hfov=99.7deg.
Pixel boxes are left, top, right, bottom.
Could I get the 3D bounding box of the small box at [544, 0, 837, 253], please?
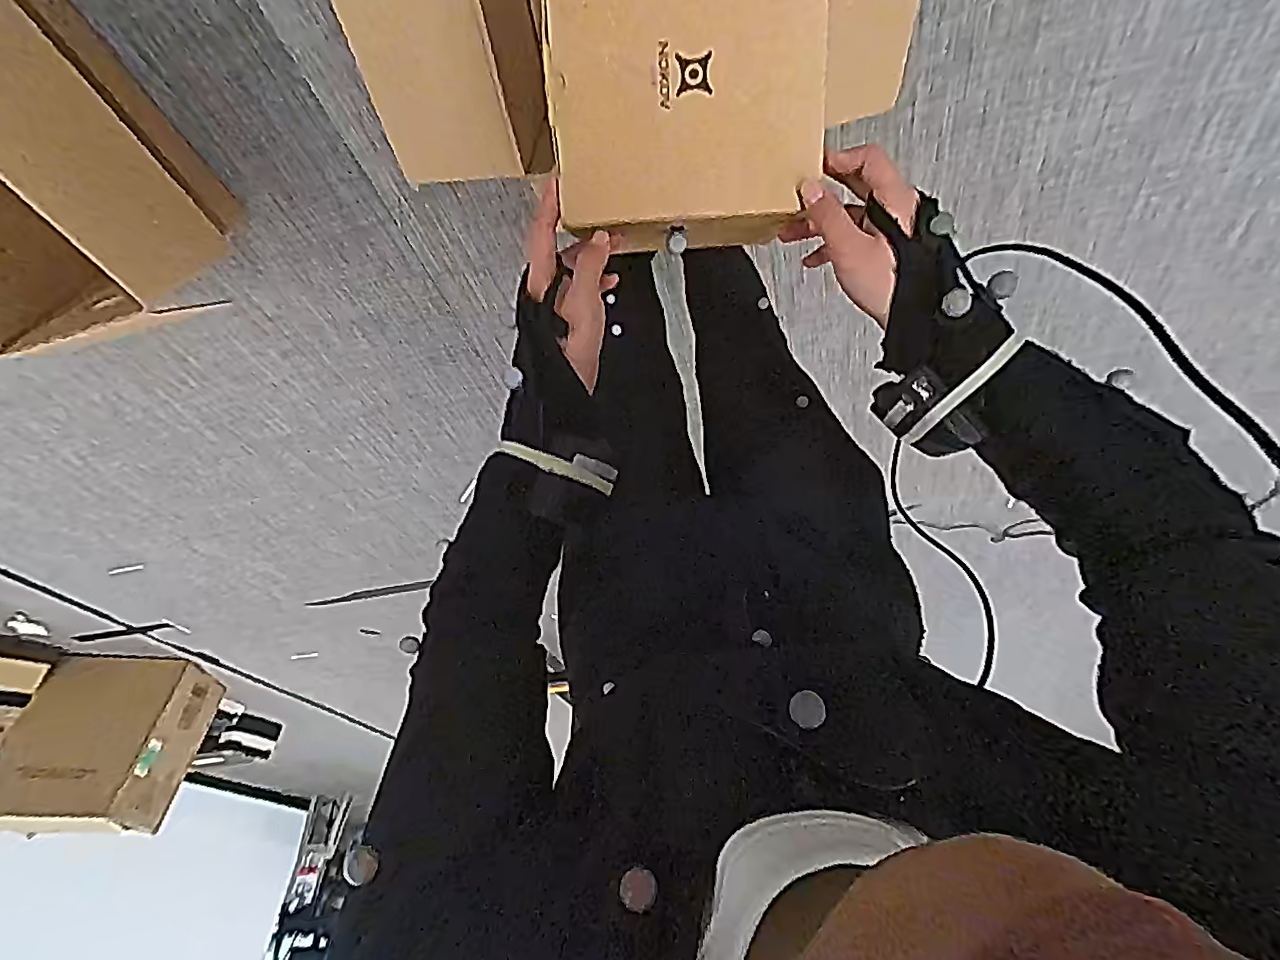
[{"bbox_3d":[0.034,-0.272,0.408,0.179,0.176,0.168,-3,107,4],"label":"small box"}]
